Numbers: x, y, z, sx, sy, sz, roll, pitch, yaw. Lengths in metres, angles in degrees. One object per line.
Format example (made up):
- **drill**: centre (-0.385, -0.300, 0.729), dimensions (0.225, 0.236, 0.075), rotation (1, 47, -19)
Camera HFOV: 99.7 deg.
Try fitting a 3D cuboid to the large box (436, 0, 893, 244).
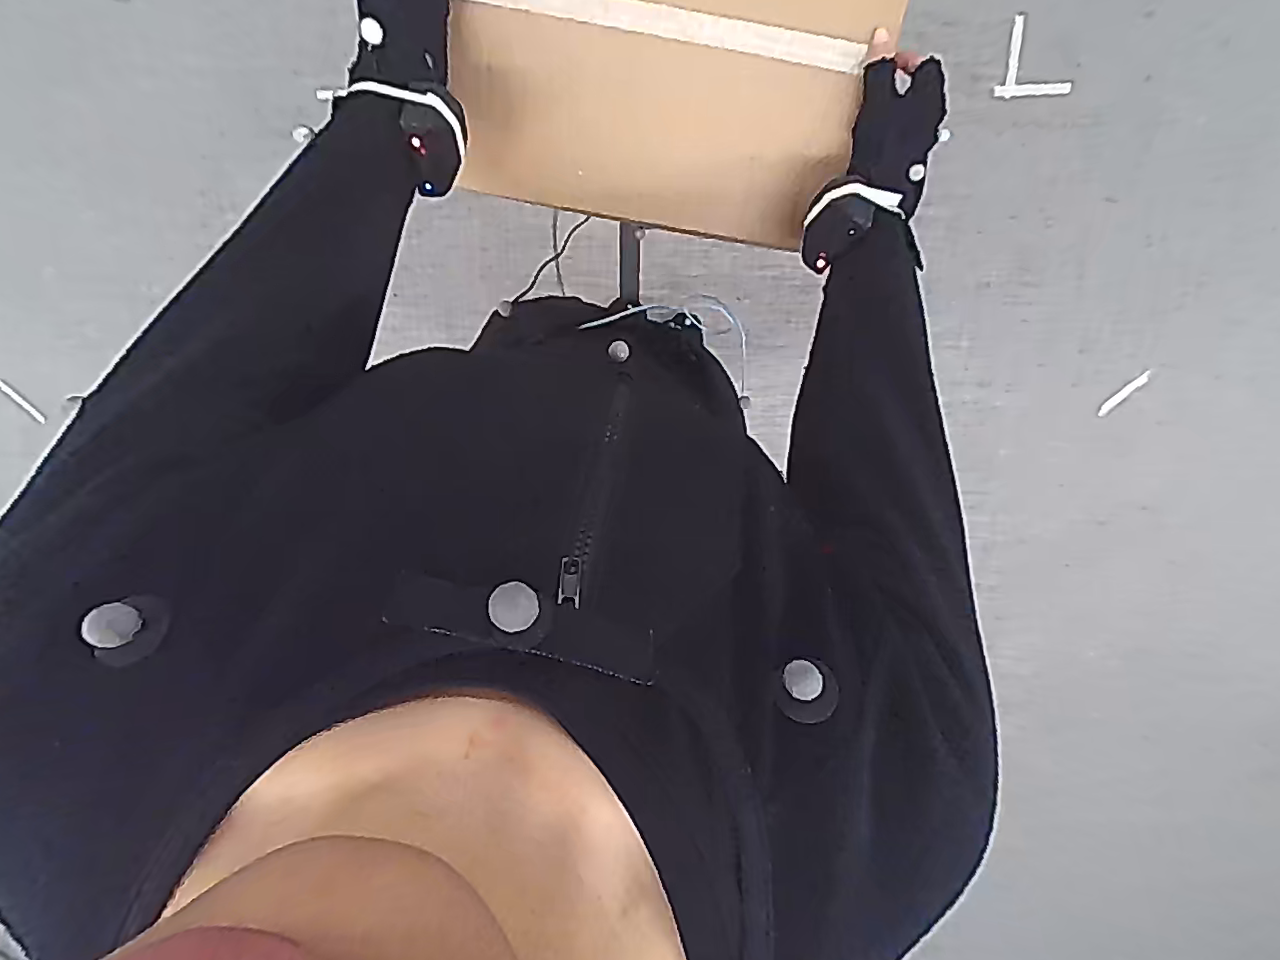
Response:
- **large box**: centre (0.026, -0.466, 0.616), dimensions (0.408, 0.320, 0.320), rotation (10, 113, -1)
